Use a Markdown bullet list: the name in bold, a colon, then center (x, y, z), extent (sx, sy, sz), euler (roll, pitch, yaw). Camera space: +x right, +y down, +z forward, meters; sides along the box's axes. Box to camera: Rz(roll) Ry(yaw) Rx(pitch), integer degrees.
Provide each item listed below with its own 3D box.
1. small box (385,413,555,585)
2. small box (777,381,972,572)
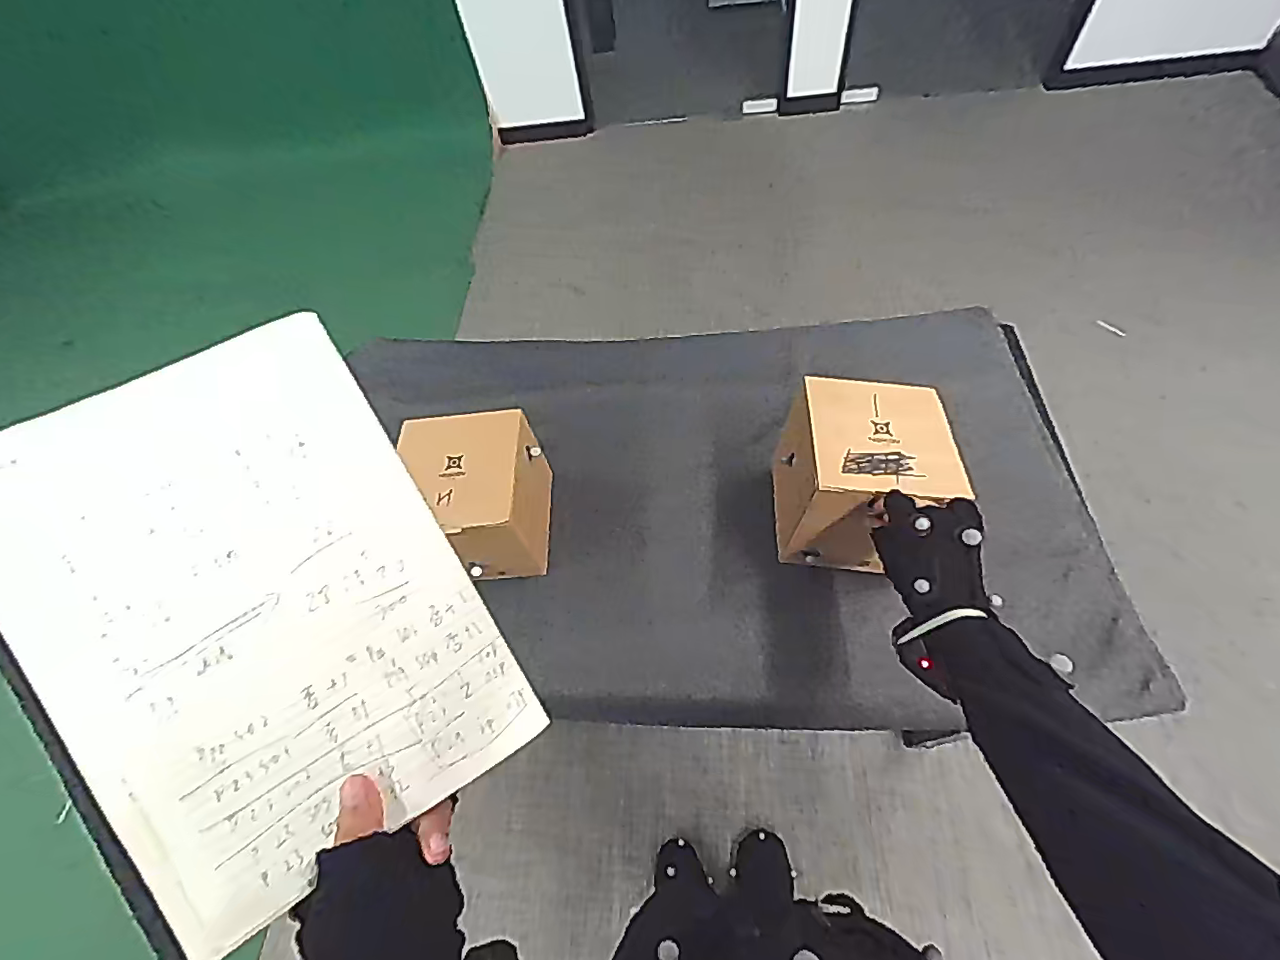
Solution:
- **small box**: center (-0.220, 0.031, 0.754), extent (0.168, 0.176, 0.179), euler (-5, 58, 5)
- **small box**: center (0.276, 0.000, 0.684), extent (0.168, 0.176, 0.179), euler (5, 52, 2)
